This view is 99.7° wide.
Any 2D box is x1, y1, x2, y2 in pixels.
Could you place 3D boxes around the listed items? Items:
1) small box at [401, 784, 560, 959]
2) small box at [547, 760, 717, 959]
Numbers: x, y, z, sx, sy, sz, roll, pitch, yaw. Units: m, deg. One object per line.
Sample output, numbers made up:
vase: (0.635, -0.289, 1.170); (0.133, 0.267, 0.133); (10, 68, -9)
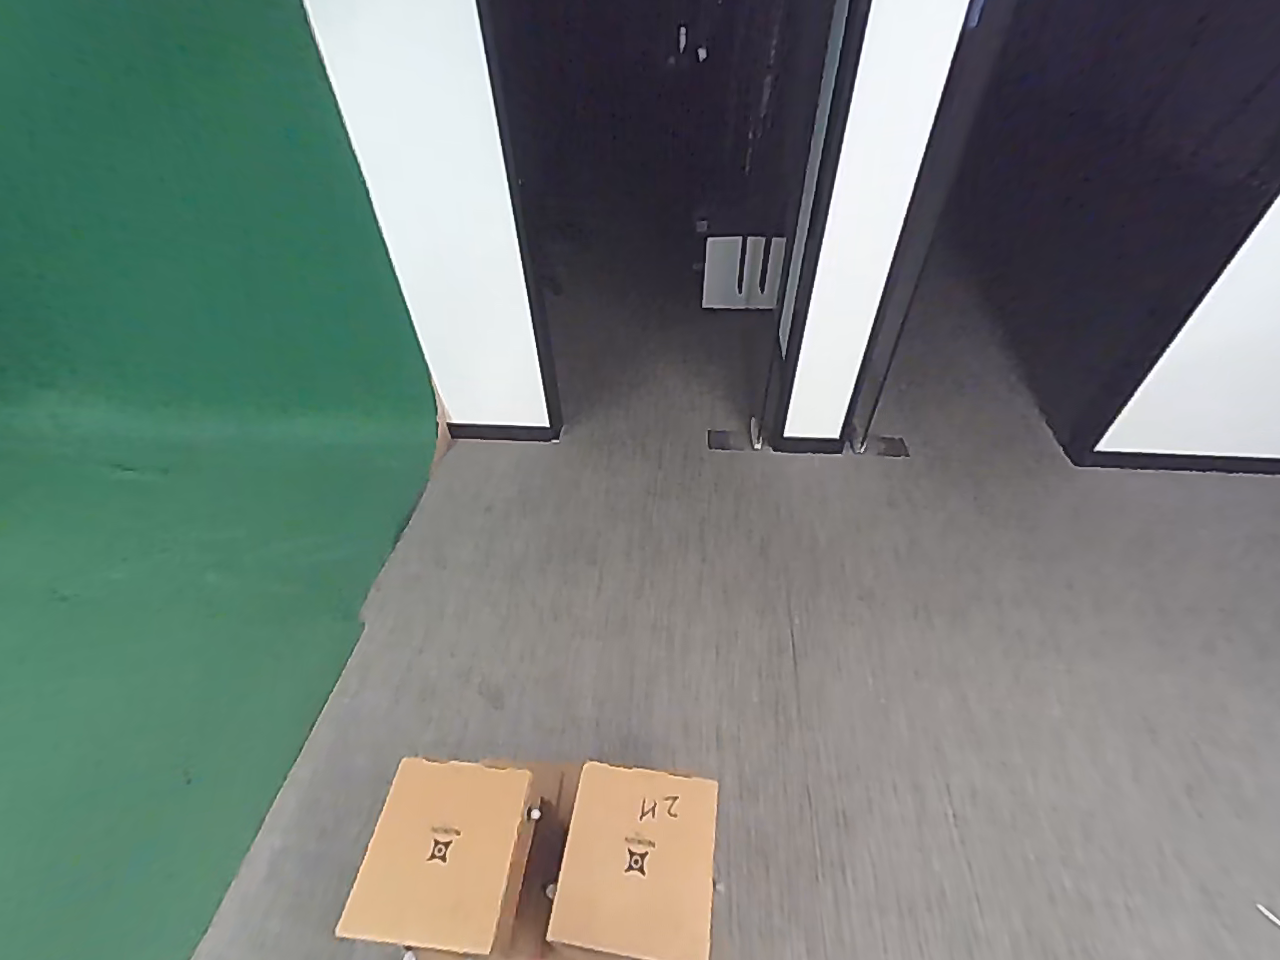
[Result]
small box: (-0.218, 0.579, 0.800); (0.168, 0.176, 0.179); (4, 46, 5)
small box: (0.002, 0.474, 0.660); (0.168, 0.176, 0.179); (6, 46, 9)
